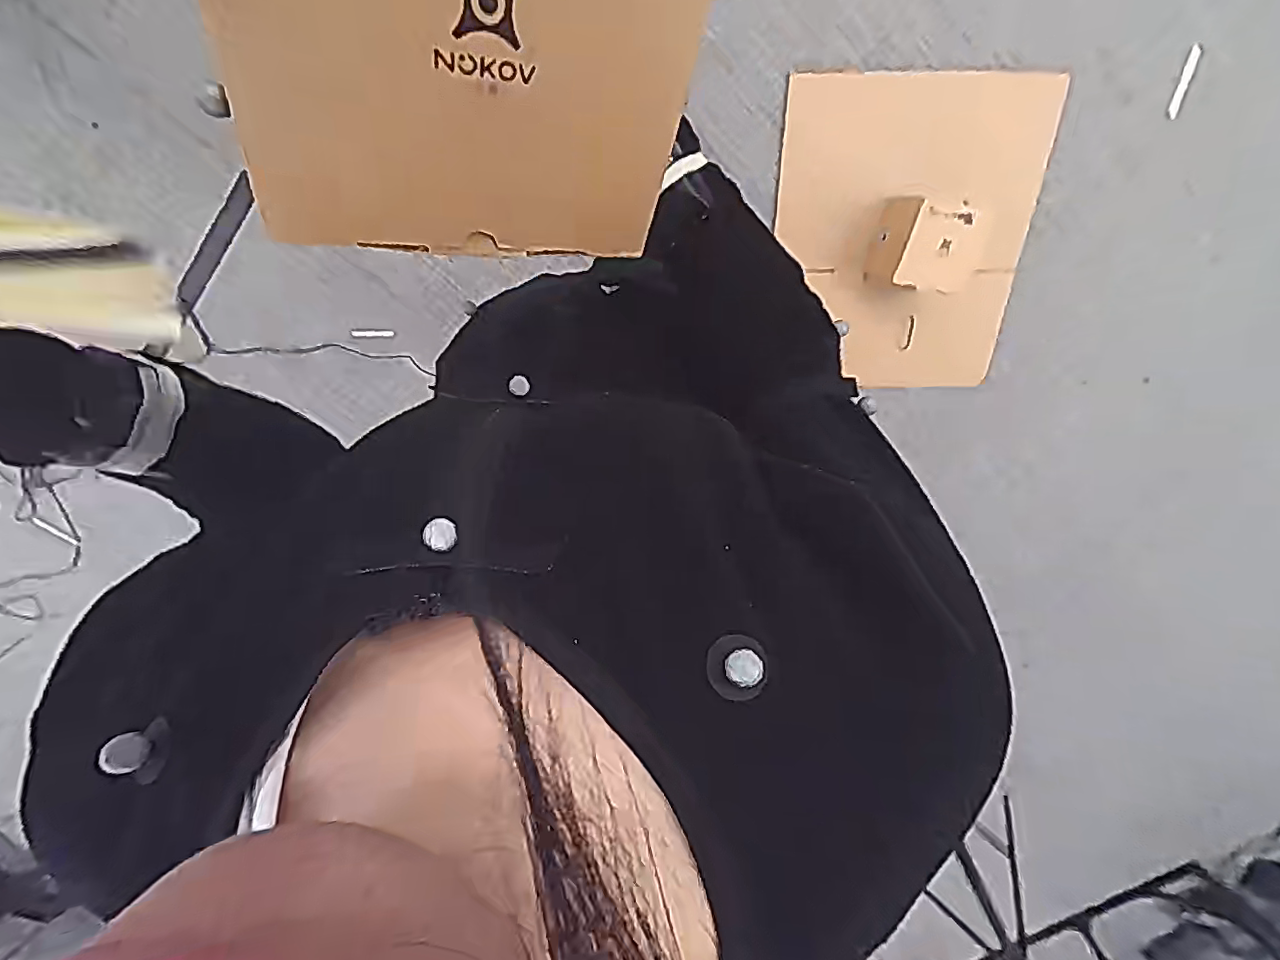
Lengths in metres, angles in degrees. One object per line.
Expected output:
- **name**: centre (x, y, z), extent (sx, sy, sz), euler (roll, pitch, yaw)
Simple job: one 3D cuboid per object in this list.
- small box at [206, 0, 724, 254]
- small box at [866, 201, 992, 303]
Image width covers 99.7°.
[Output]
- **small box**: centre (-0.075, -0.218, 0.217), extent (0.168, 0.176, 0.179), euler (-8, 147, -23)
- **small box**: centre (0.644, -0.523, 1.233), extent (0.168, 0.176, 0.179), euler (10, 118, -6)
